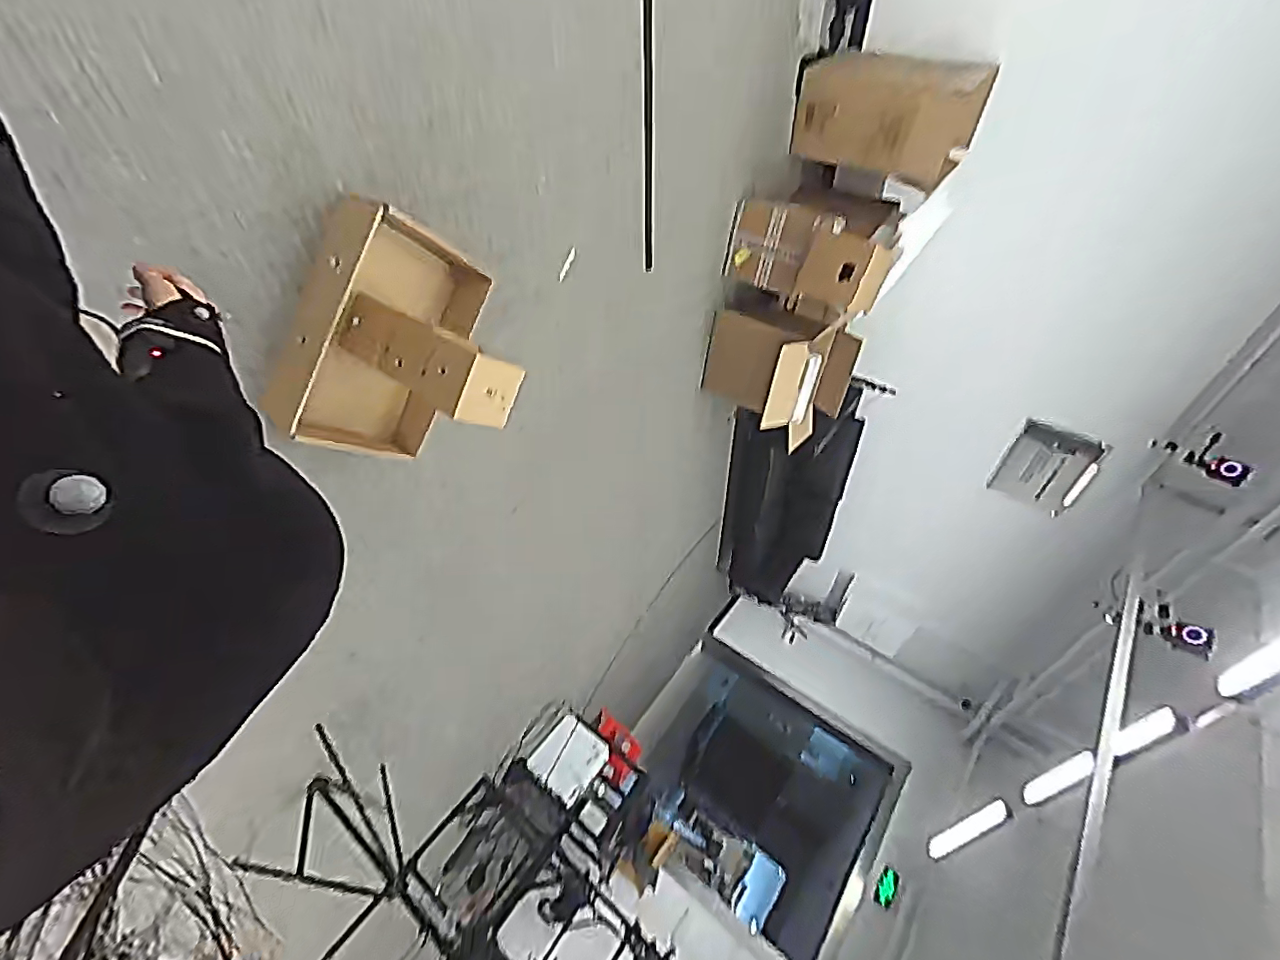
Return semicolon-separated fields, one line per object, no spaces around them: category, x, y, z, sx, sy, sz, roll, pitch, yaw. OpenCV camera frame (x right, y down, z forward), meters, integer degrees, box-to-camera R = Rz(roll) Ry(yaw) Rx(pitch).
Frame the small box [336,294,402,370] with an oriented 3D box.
small box;-0.694;-0.394;1.500;0.179;0.176;0.168;14;103;-63

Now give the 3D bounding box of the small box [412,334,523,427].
small box;-0.435;-0.252;1.359;0.179;0.176;0.168;5;113;-62

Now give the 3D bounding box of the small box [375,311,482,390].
small box;-0.563;-0.329;1.432;0.179;0.176;0.168;3;114;-63
